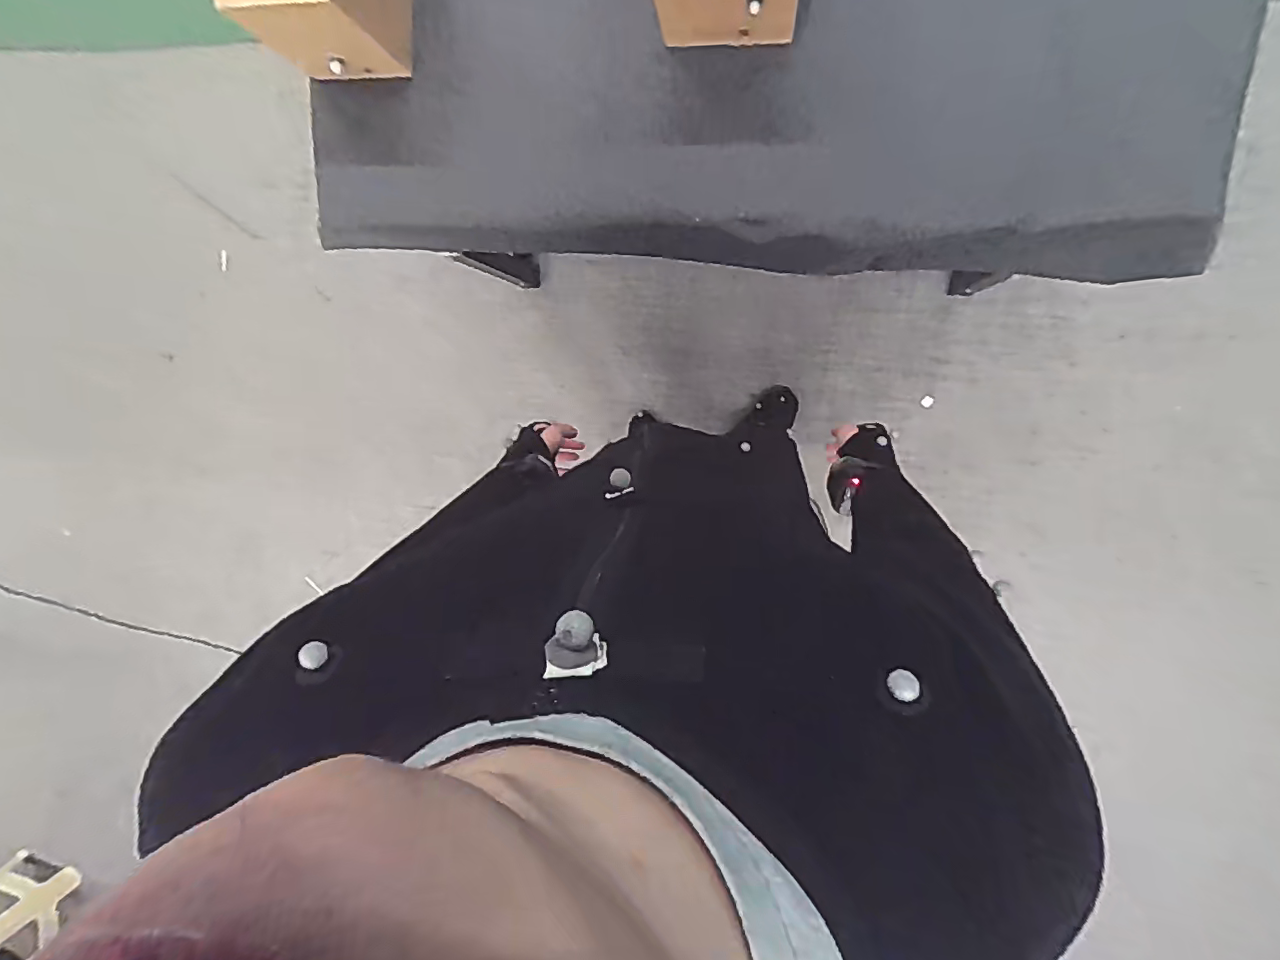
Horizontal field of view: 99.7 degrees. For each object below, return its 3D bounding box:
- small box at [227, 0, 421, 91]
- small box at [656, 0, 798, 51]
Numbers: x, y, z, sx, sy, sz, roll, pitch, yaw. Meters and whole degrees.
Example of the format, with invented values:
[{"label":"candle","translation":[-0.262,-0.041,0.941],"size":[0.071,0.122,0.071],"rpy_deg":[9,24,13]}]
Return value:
[{"label":"small box","translation":[-0.413,-0.661,0.724],"size":[0.168,0.176,0.179],"rpy_deg":[6,102,11]},{"label":"small box","translation":[0.108,-0.634,0.624],"size":[0.168,0.176,0.179],"rpy_deg":[6,100,10]}]
